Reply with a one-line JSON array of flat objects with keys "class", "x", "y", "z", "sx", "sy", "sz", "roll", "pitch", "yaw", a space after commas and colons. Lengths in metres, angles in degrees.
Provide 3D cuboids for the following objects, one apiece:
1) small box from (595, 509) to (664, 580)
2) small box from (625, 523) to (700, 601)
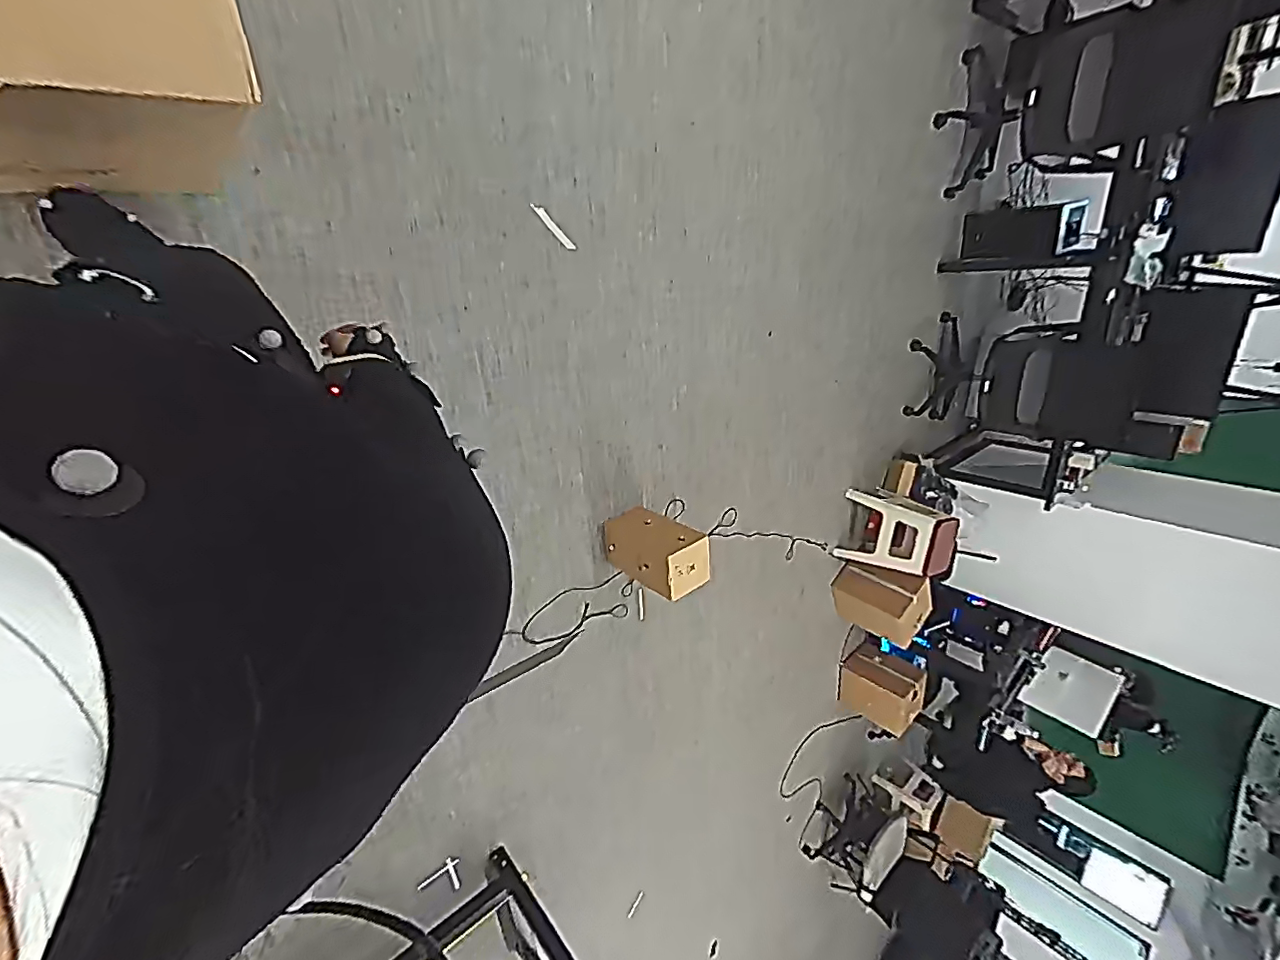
[{"class": "small box", "x": -0.034, "y": 0.214, "z": 1.860, "sx": 0.179, "sy": 0.176, "sz": 0.168, "roll": -20, "pitch": 116, "yaw": -35}, {"class": "small box", "x": 0.074, "y": 0.255, "z": 1.741, "sx": 0.179, "sy": 0.176, "sz": 0.168, "roll": -22, "pitch": 117, "yaw": -35}]
